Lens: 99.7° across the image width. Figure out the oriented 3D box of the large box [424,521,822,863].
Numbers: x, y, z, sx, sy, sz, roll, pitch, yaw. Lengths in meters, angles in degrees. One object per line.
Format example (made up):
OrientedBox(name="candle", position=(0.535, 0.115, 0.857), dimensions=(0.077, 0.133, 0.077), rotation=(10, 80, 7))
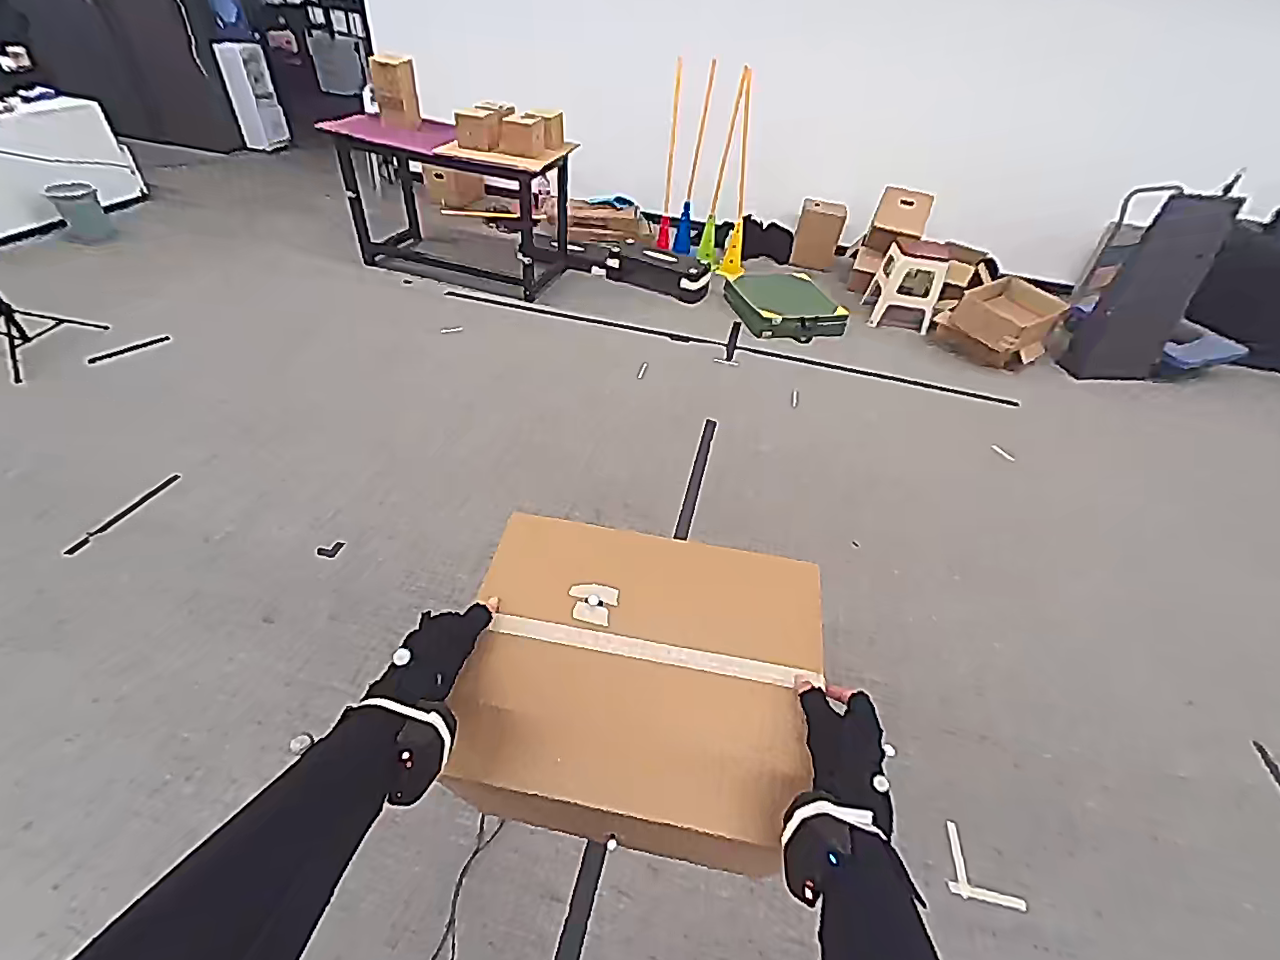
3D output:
OrientedBox(name="large box", position=(0.001, 0.291, 0.732), dimensions=(0.408, 0.320, 0.320), rotation=(9, 51, 6))
